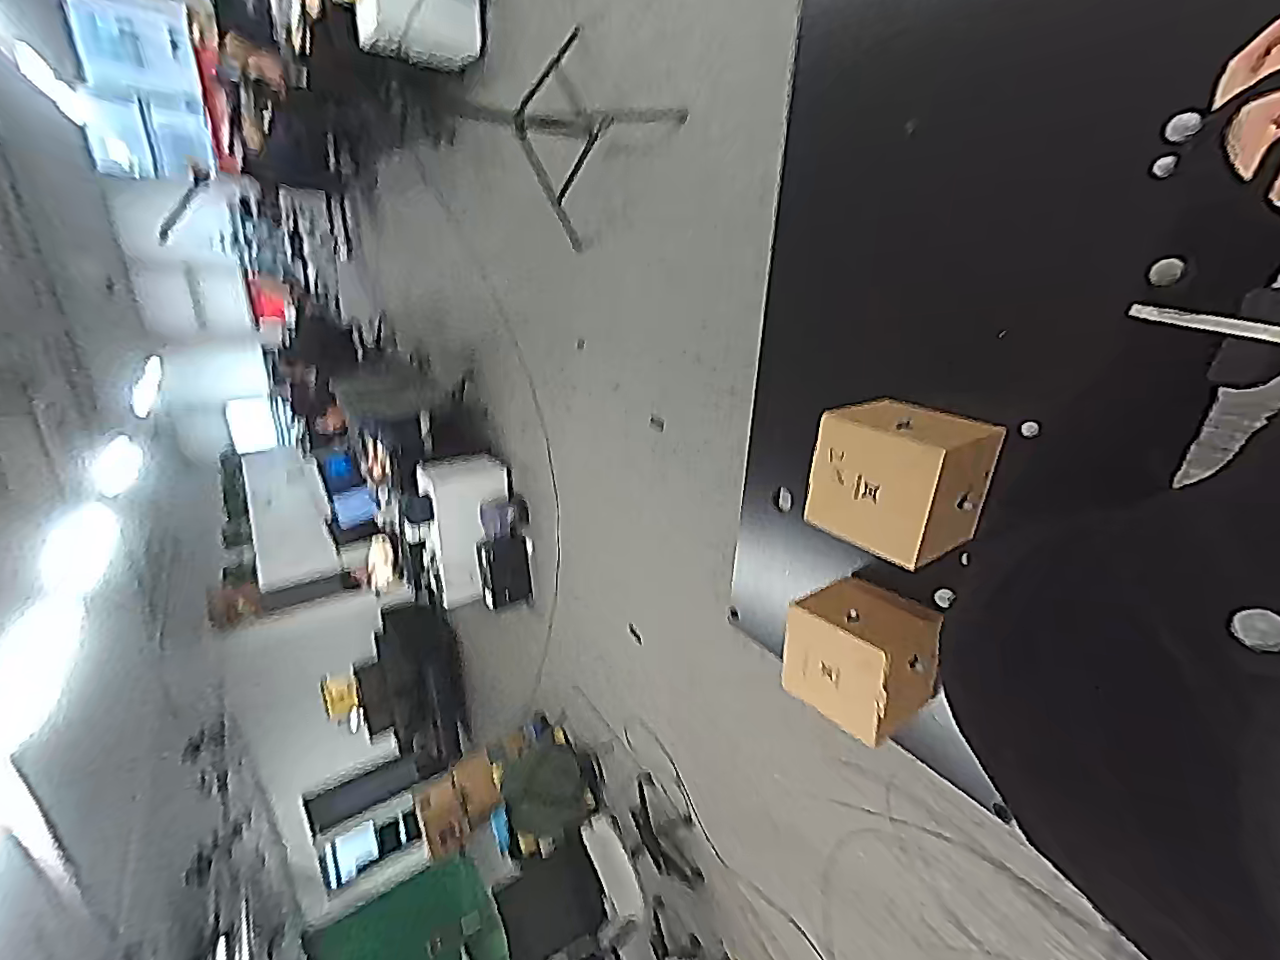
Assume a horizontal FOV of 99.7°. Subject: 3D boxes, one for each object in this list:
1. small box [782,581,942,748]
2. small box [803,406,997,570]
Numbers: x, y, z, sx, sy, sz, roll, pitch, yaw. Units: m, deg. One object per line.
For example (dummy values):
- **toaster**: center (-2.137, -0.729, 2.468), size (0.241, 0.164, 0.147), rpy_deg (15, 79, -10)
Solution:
- **small box**: center (0.358, 0.283, 0.879), size (0.179, 0.176, 0.168), rpy_deg (22, 118, 52)
- **small box**: center (0.363, -0.003, 0.765), size (0.179, 0.176, 0.168), rpy_deg (30, 124, 48)
